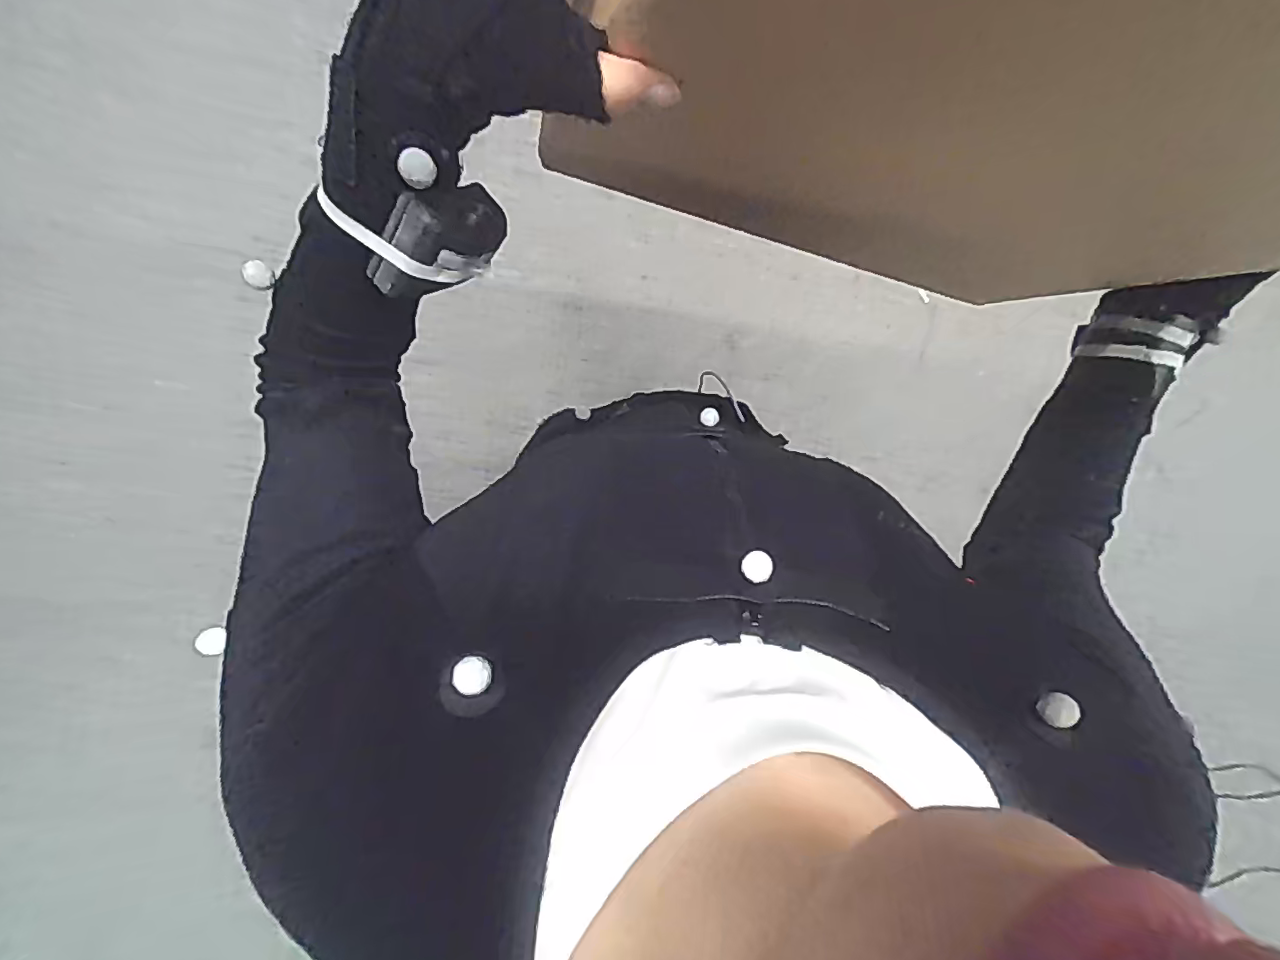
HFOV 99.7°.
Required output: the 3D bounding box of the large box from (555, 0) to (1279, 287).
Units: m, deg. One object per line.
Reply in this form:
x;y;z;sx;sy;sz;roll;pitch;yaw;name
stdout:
0.203;-0.304;0.250;0.408;0.320;0.320;5;100;-25;large box
